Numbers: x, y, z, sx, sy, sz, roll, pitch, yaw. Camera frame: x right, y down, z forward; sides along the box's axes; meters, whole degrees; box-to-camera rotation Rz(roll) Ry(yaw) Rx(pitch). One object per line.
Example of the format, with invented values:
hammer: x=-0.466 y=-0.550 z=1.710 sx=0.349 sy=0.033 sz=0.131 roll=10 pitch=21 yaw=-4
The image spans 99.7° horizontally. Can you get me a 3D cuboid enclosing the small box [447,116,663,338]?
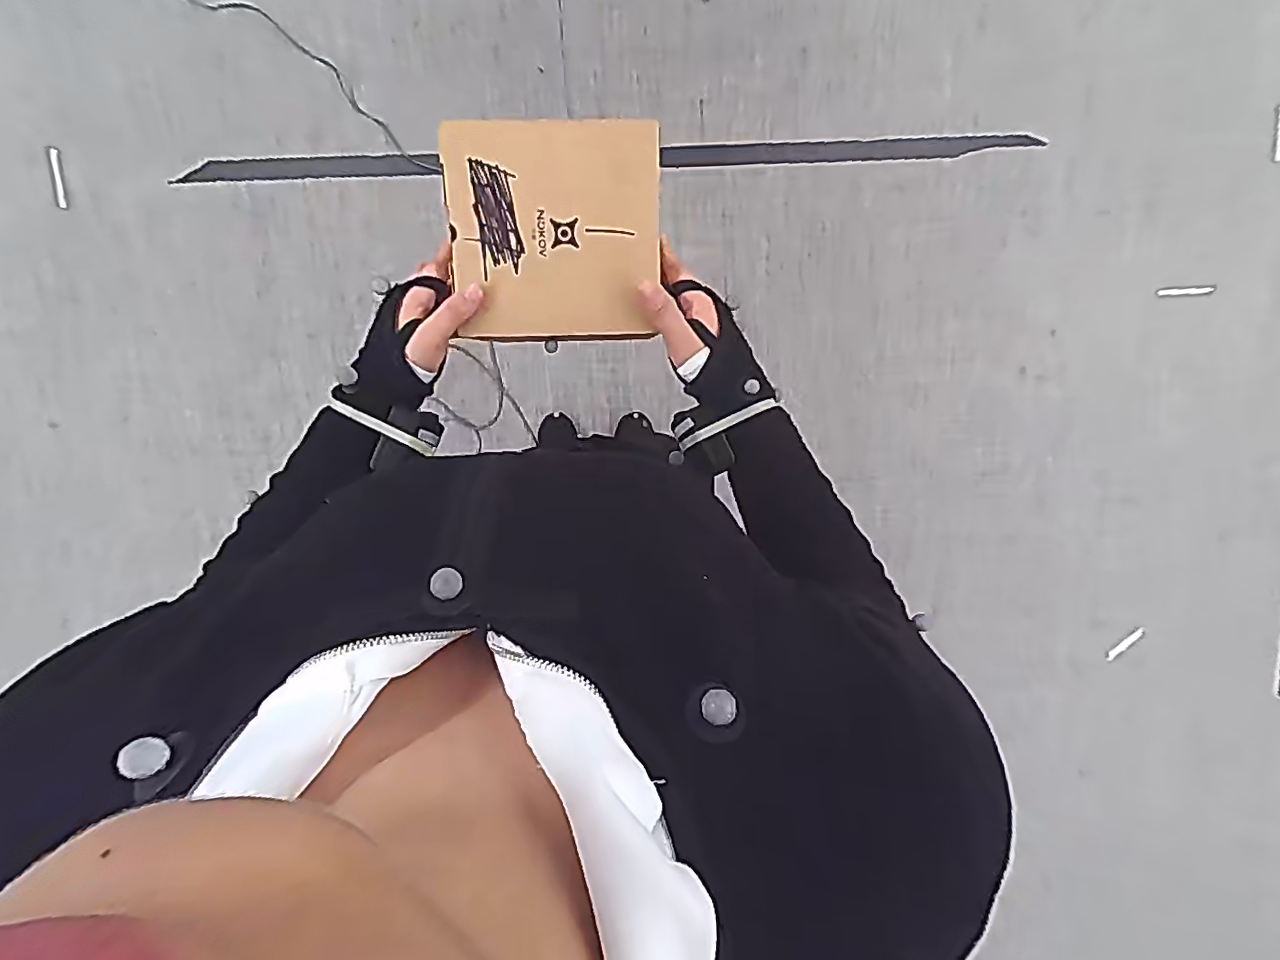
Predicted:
small box: x=-0.071 y=-0.226 z=0.527 sx=0.179 sy=0.176 sz=0.168 roll=-1 pitch=103 yaw=-3

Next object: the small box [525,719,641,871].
small box: x=-0.097 y=0.575 z=1.007 sx=0.179 sy=0.176 sz=0.168 roll=-12 pitch=95 yaw=1

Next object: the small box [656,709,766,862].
small box: x=0.126 y=0.562 z=1.013 sx=0.168 sy=0.176 sz=0.179 roll=-8 pitch=94 yaw=-3
